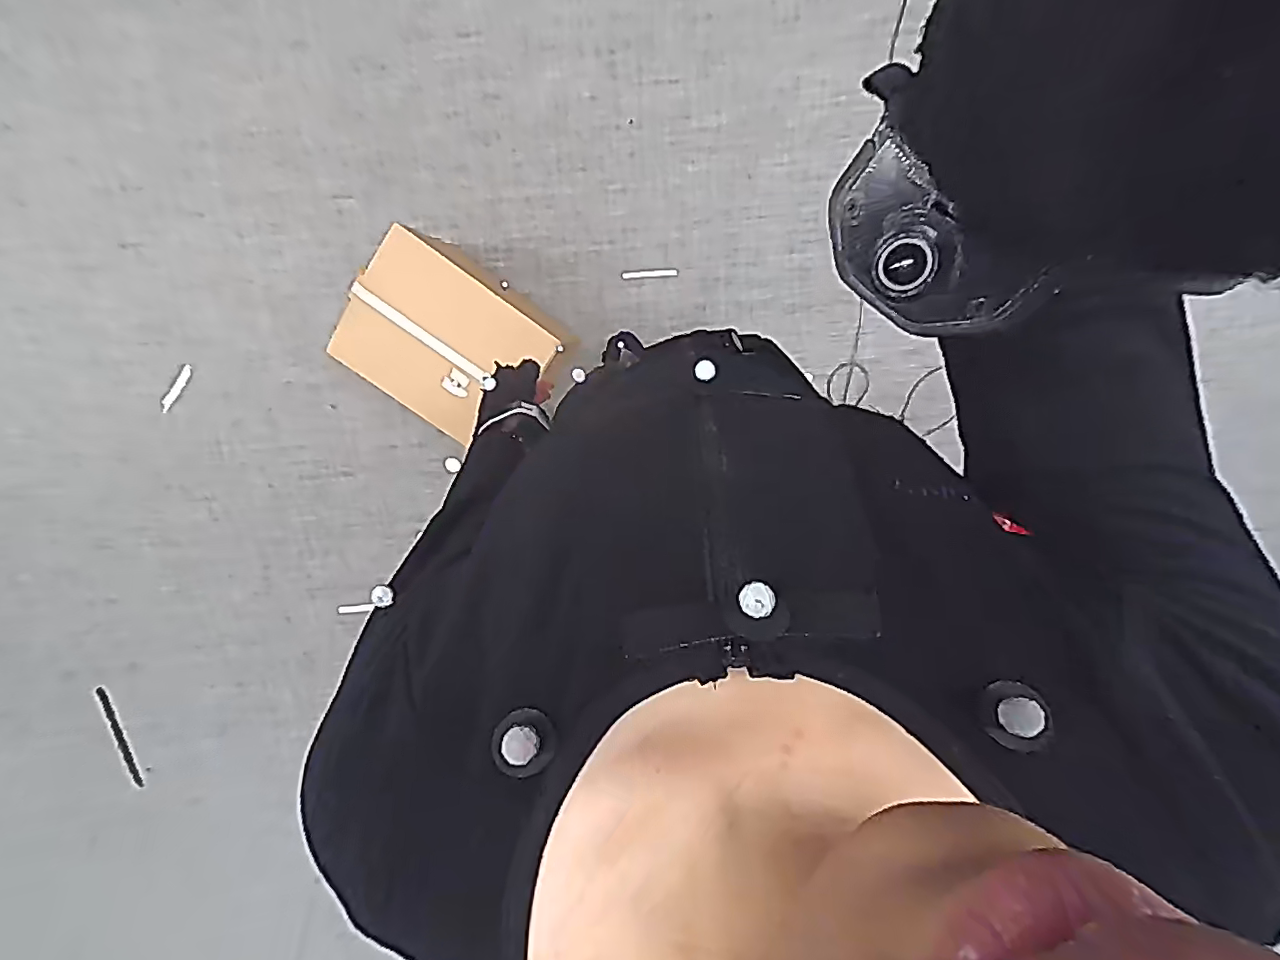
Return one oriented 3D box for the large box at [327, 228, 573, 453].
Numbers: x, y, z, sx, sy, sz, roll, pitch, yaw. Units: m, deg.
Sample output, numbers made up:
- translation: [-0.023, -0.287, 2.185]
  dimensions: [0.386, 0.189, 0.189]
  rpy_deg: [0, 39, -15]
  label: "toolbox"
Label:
- translation: [-0.423, -0.324, 1.292]
  dimensions: [0.408, 0.320, 0.320]
  rpy_deg: [34, 104, -9]
  label: "large box"
